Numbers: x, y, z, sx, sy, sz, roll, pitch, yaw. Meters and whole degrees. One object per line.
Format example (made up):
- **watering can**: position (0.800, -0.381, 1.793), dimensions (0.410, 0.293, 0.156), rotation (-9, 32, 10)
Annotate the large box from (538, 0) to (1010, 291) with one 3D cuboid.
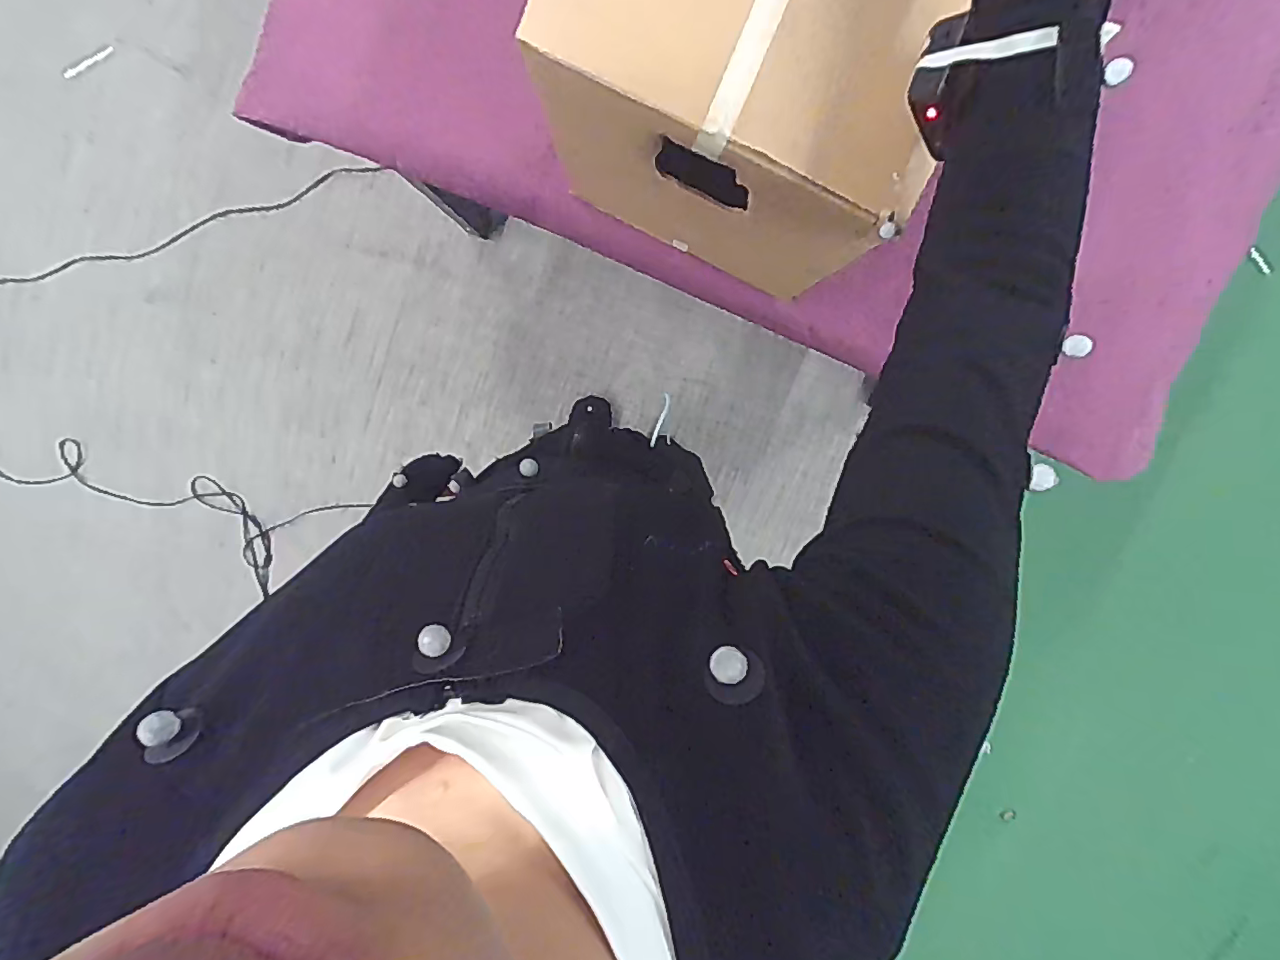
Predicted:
- **large box**: position (0.139, -0.458, 0.527), dimensions (0.320, 0.320, 0.408), rotation (25, 99, -4)
